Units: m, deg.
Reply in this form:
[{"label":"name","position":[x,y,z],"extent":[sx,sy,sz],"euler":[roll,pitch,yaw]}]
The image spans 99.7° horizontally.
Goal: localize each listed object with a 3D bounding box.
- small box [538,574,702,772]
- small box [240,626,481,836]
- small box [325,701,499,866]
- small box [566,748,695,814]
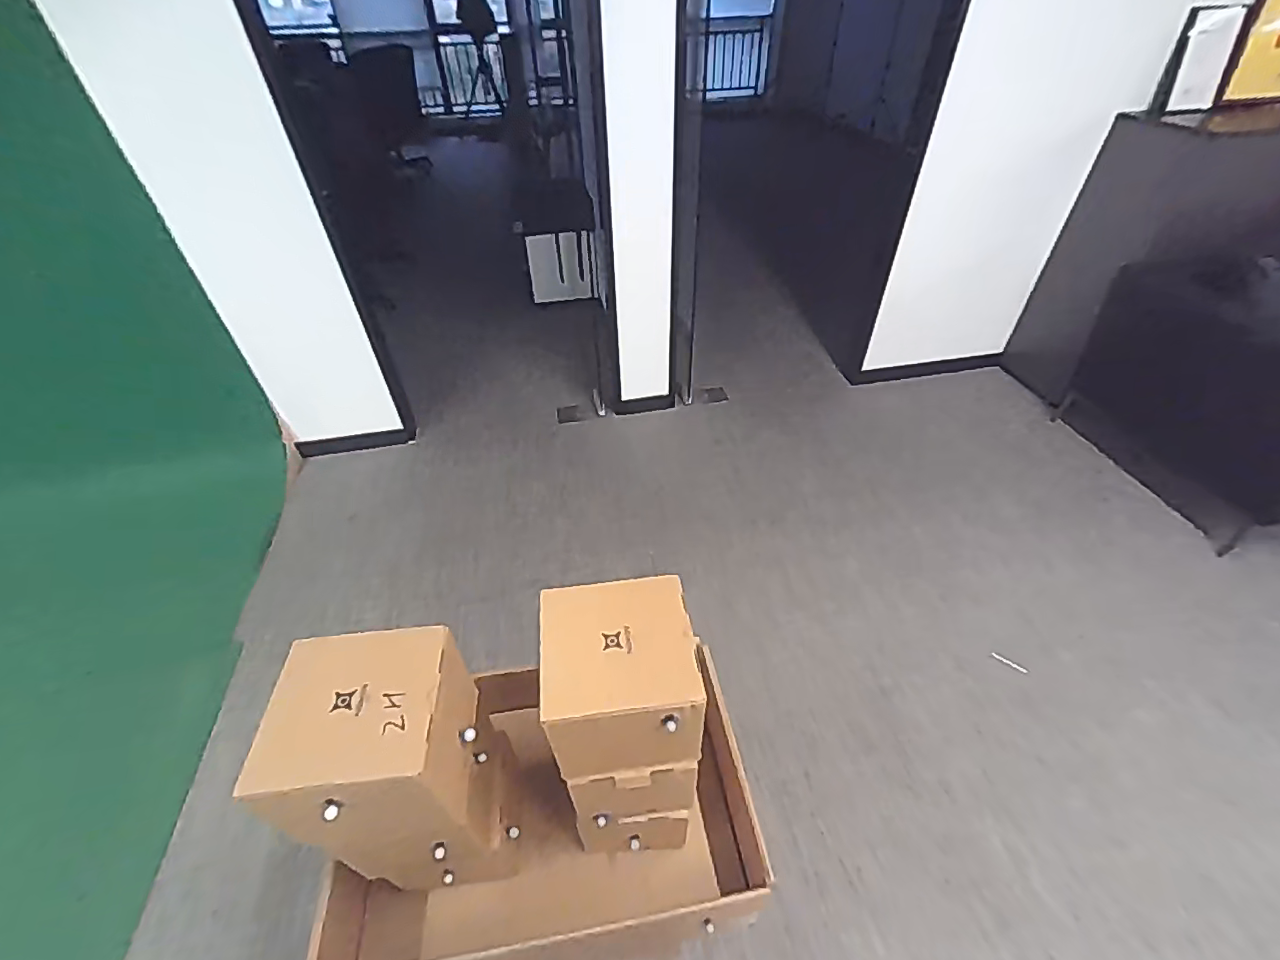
[{"label":"small box","position":[-0.025,0.241,0.672],"extent":[0.179,0.176,0.168],"euler":[-6,43,-4]},{"label":"small box","position":[-0.300,0.293,0.629],"extent":[0.179,0.176,0.168],"euler":[-5,44,-3]},{"label":"small box","position":[-0.295,0.408,0.746],"extent":[0.168,0.176,0.179],"euler":[-7,43,-5]},{"label":"small box","position":[-0.015,0.361,0.782],"extent":[0.168,0.176,0.179],"euler":[-6,42,-3]}]
